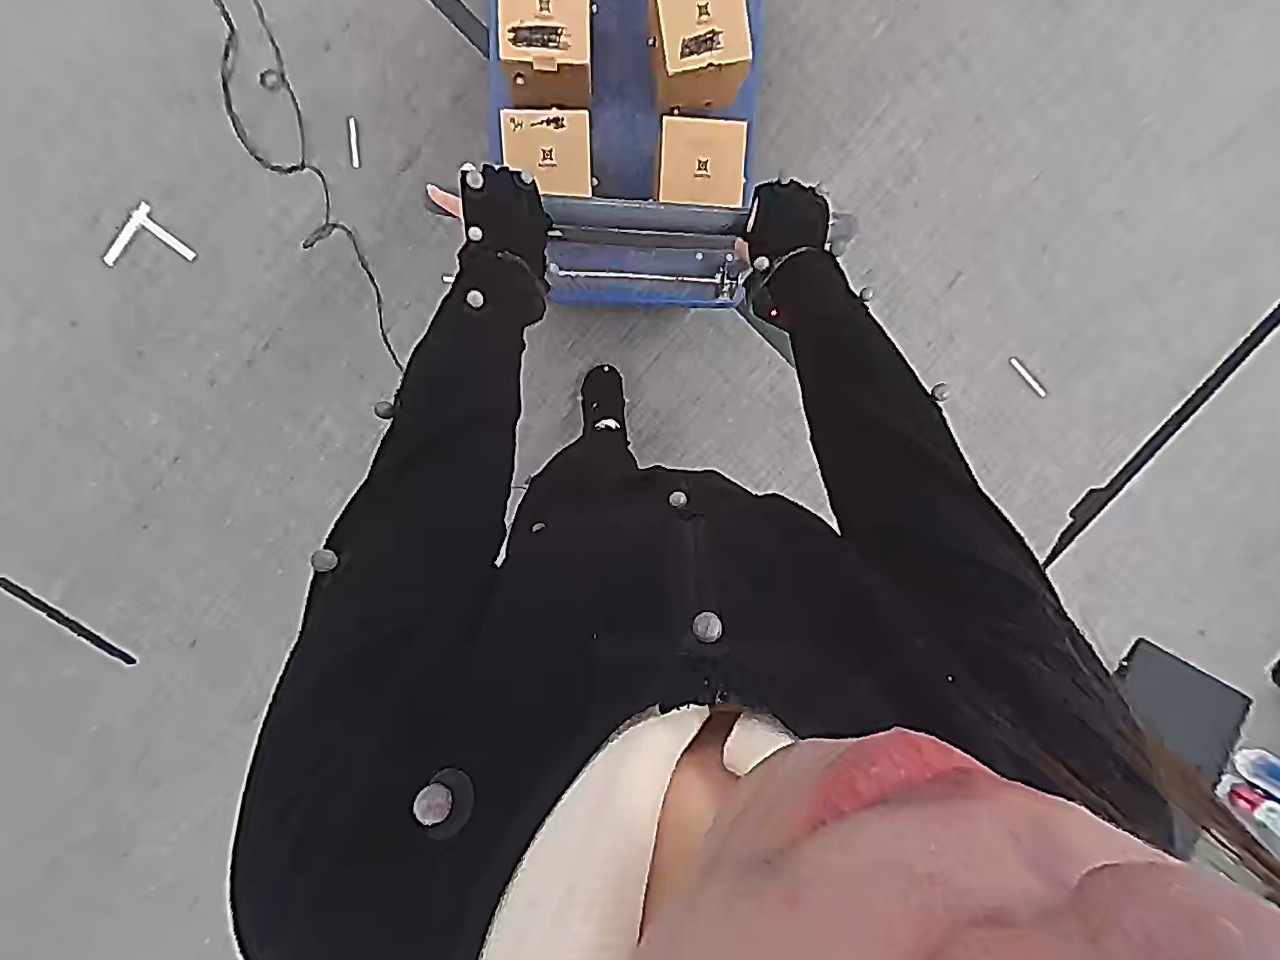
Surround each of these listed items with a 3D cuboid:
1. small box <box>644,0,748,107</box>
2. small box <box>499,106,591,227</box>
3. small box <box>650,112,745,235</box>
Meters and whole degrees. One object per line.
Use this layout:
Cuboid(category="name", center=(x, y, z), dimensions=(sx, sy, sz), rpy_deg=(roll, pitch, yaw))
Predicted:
Cuboid(category="small box", center=(0.106, -0.879, 1.079), dimensions=(0.168, 0.176, 0.179), rpy_deg=(-11, 100, -3))
Cuboid(category="small box", center=(-0.185, -0.625, 1.100), dimensions=(0.168, 0.176, 0.179), rpy_deg=(-3, 100, -5))
Cuboid(category="small box", center=(0.112, -0.625, 1.126), dimensions=(0.168, 0.176, 0.179), rpy_deg=(1, 99, -5))
